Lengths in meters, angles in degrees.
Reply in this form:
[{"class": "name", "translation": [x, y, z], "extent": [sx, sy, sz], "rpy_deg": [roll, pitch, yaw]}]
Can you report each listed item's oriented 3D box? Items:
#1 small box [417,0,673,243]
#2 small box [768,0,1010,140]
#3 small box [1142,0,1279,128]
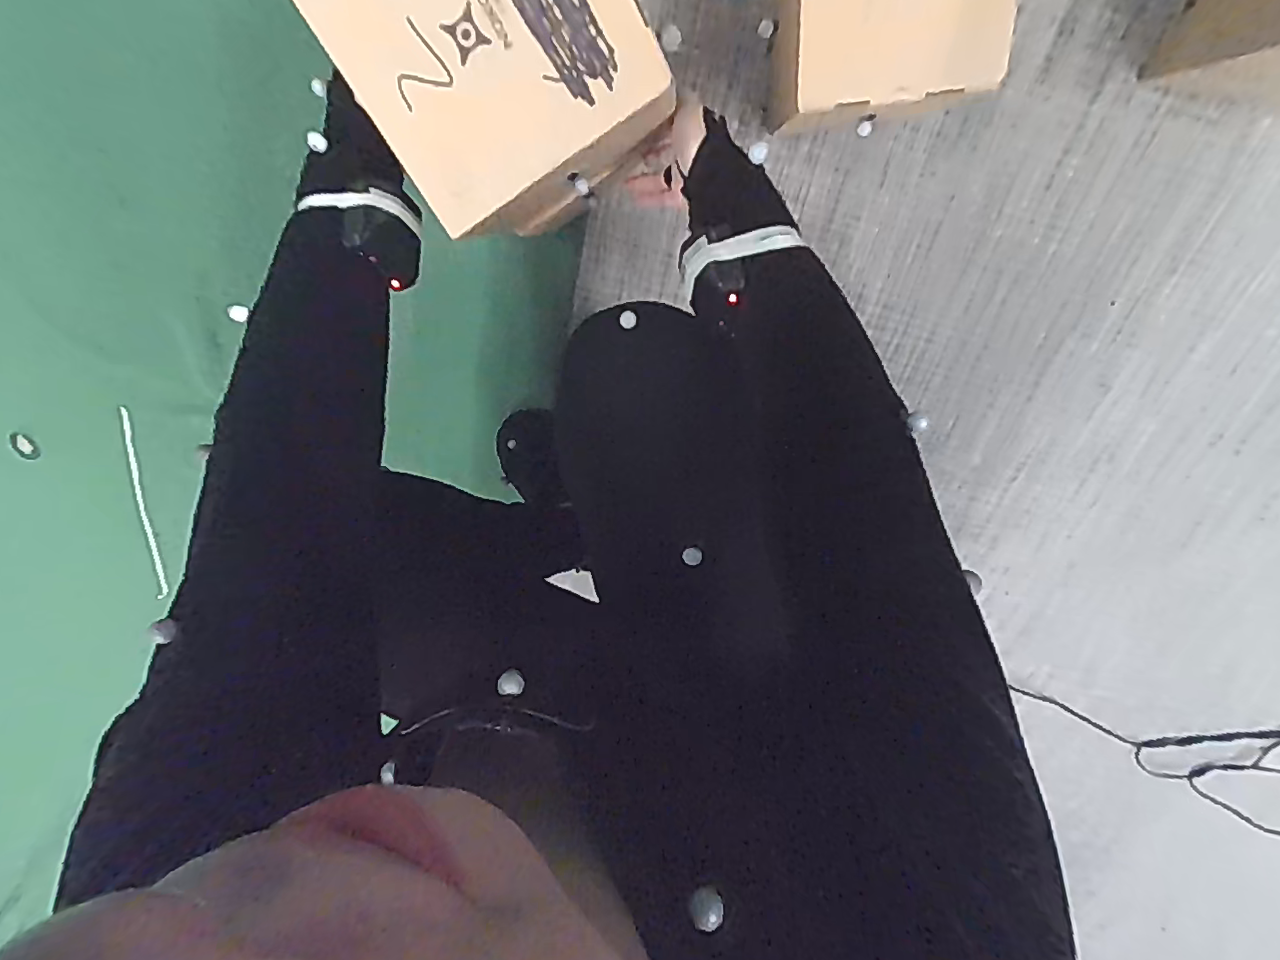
[{"class": "small box", "translation": [-0.076, -0.361, 0.544], "extent": [0.179, 0.176, 0.168], "rpy_deg": [-27, 111, 15]}, {"class": "small box", "translation": [0.211, -0.419, 0.490], "extent": [0.168, 0.176, 0.179], "rpy_deg": [-2, 117, 6]}, {"class": "small box", "translation": [0.608, -0.415, 0.456], "extent": [0.179, 0.176, 0.168], "rpy_deg": [12, 116, -2]}]
